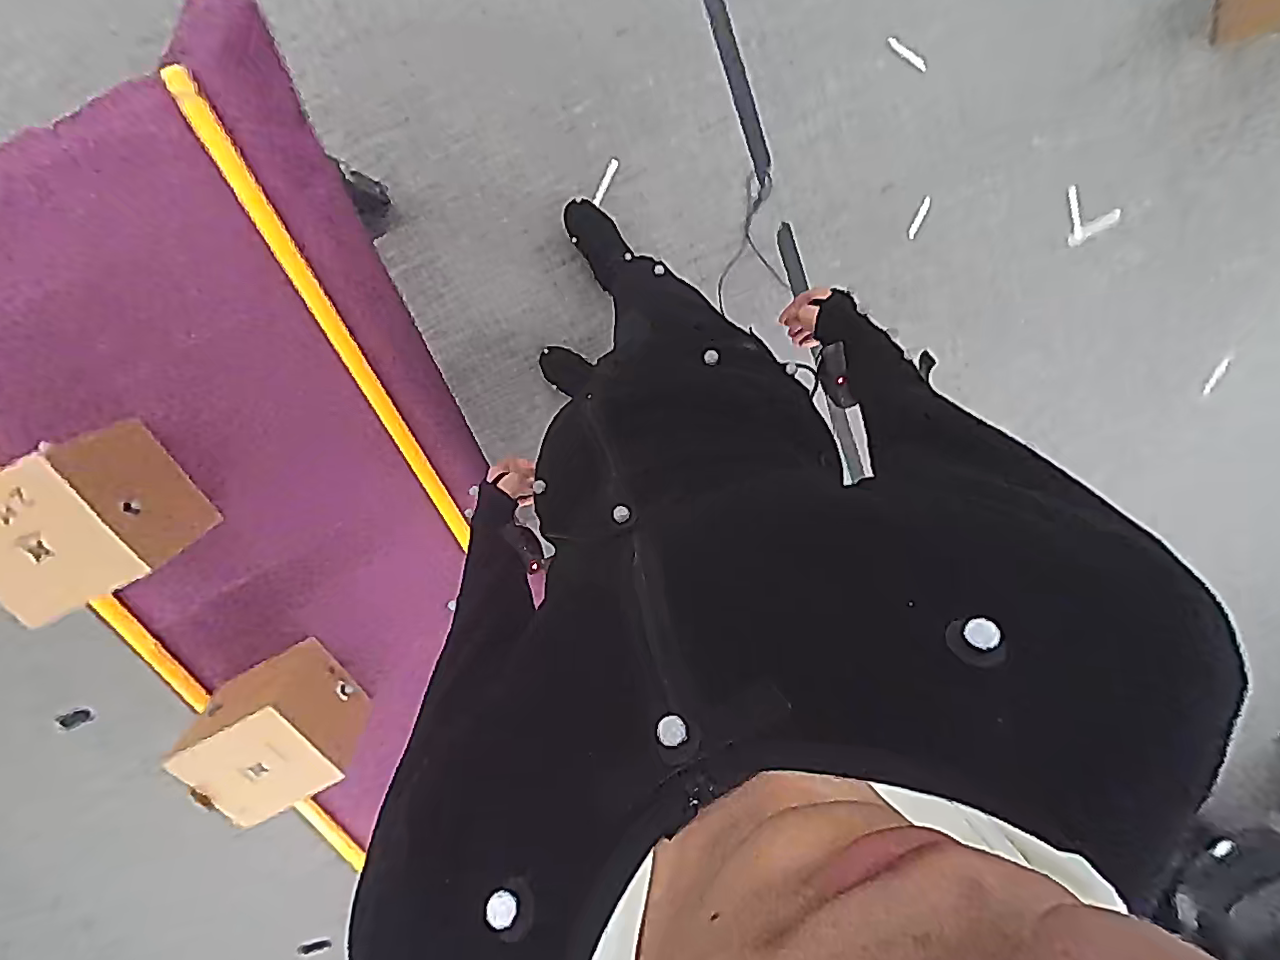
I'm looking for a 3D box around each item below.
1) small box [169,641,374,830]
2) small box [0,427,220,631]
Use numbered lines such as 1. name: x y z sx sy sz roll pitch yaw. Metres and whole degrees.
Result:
1. small box: -0.560 0.394 0.854 0.179 0.176 0.168 -28 112 0
2. small box: -0.713 0.054 0.705 0.168 0.176 0.179 -26 112 -1
